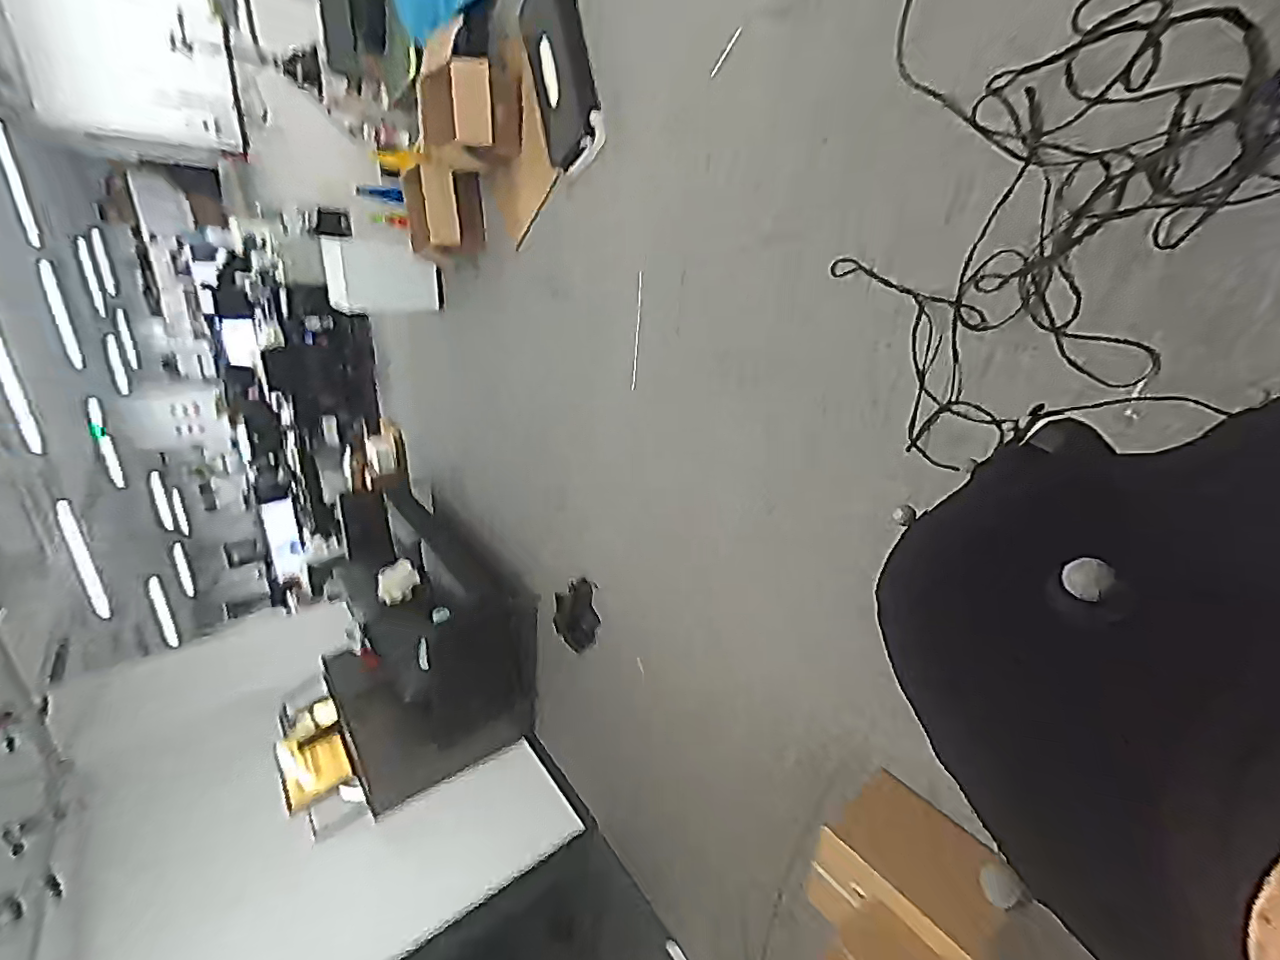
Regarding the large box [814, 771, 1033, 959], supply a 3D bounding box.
[{"bbox_3d":[0.752,1.109,1.468,0.408,0.320,0.320,28,122,47],"label":"large box"}]
